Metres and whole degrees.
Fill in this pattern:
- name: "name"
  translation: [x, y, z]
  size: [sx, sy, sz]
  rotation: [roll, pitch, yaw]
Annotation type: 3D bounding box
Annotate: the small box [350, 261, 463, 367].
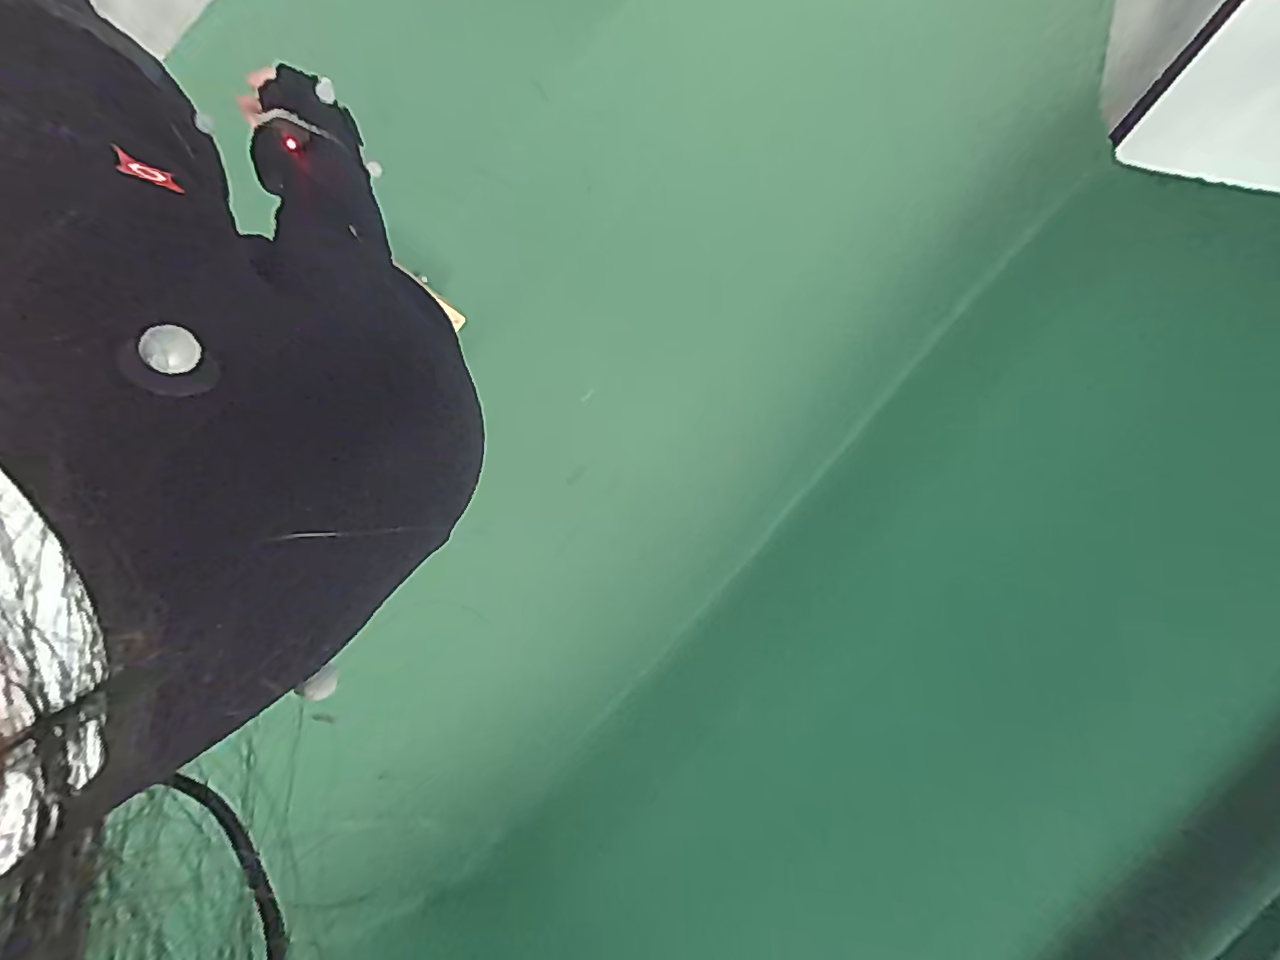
- name: "small box"
  translation: [-0.584, -0.418, 1.342]
  size: [0.168, 0.176, 0.179]
  rotation: [-50, 141, 4]
